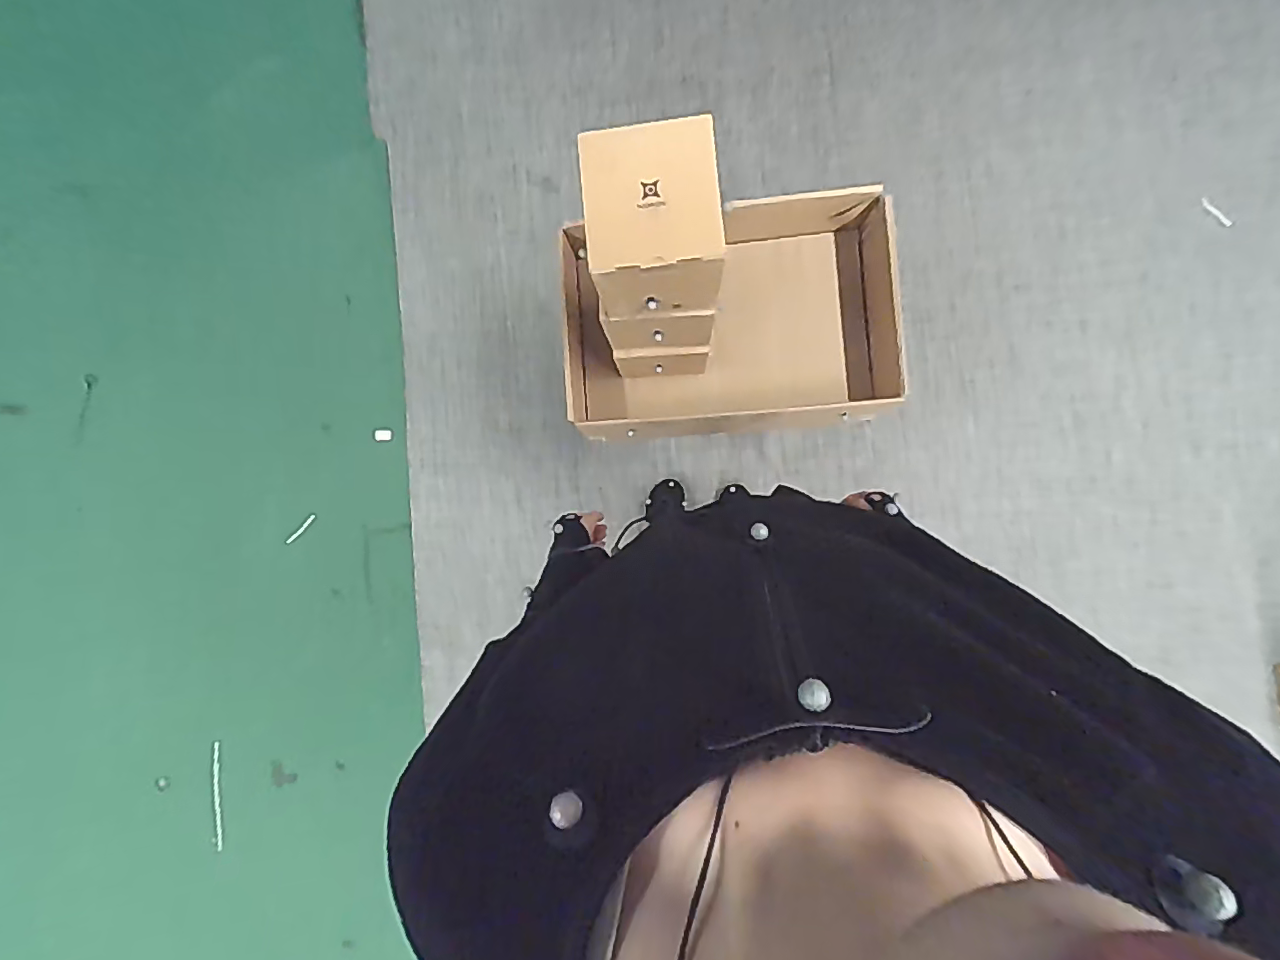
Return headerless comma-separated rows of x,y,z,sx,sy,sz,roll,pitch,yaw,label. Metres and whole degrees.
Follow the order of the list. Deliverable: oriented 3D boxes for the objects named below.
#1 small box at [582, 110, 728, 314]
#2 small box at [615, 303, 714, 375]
0.022,-0.341,0.718,0.168,0.176,0.179,-5,87,5,small box
0.046,-0.304,1.042,0.179,0.176,0.168,-3,87,4,small box
